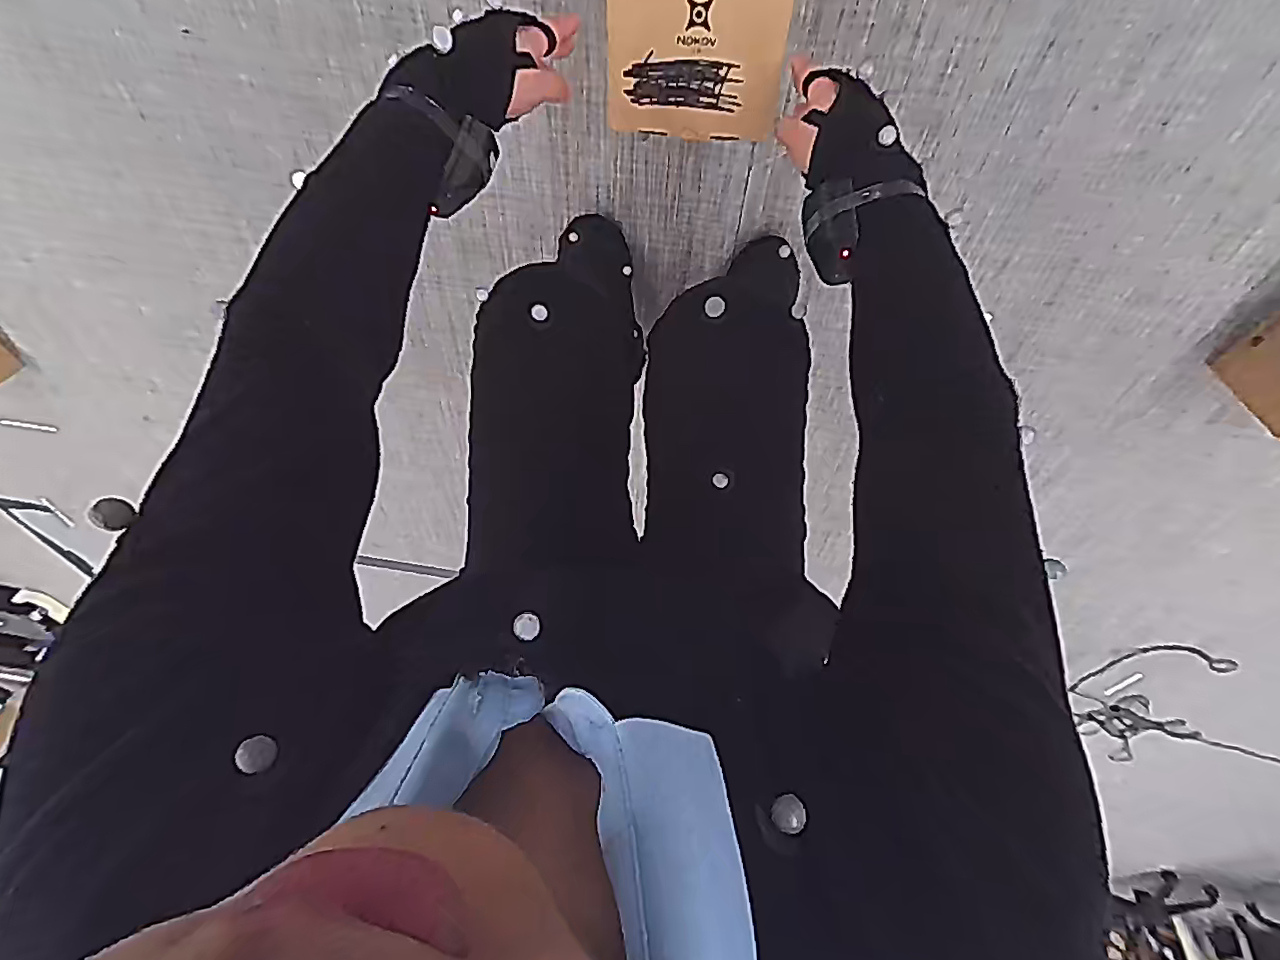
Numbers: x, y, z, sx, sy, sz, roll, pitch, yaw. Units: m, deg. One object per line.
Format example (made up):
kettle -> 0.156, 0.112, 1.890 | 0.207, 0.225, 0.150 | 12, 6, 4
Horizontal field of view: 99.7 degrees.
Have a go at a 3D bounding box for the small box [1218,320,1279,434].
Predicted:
small box -> 0.939, -0.138, 0.700 | 0.179, 0.176, 0.168 | 14, 138, -4

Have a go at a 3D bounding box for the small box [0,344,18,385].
small box -> -1.425, -0.244, 1.073 | 0.179, 0.176, 0.168 | 4, 137, 8
